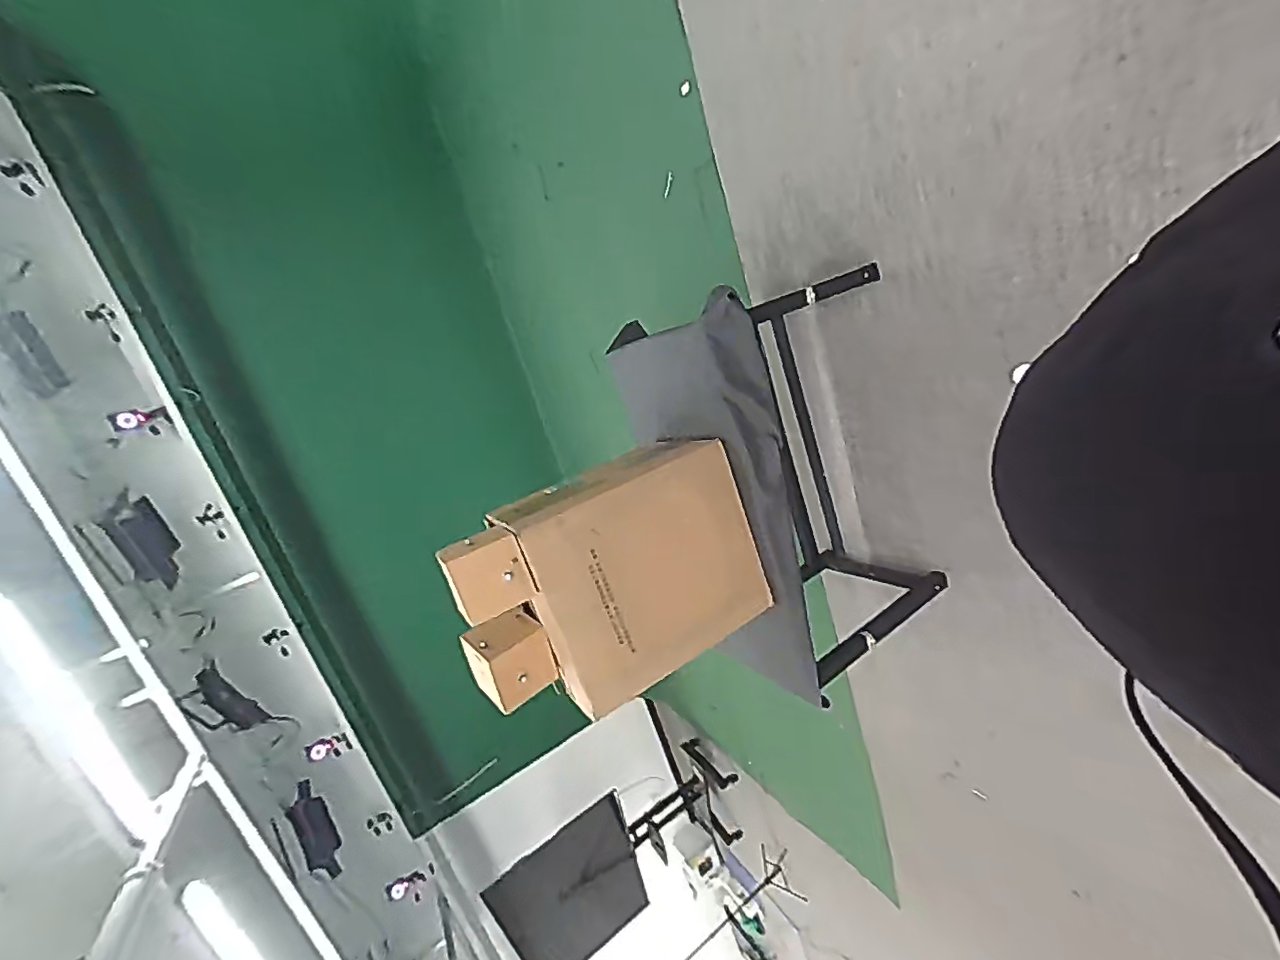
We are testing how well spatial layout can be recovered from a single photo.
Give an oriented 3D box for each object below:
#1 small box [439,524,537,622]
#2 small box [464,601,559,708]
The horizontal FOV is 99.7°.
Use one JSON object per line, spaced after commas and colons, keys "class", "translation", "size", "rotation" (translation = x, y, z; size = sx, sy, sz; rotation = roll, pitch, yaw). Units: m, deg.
{"class": "small box", "translation": [-0.371, 0.217, 1.326], "size": [0.179, 0.176, 0.168], "rotation": [4, 116, 62]}
{"class": "small box", "translation": [-0.340, 0.462, 1.455], "size": [0.168, 0.176, 0.179], "rotation": [15, 125, 46]}
